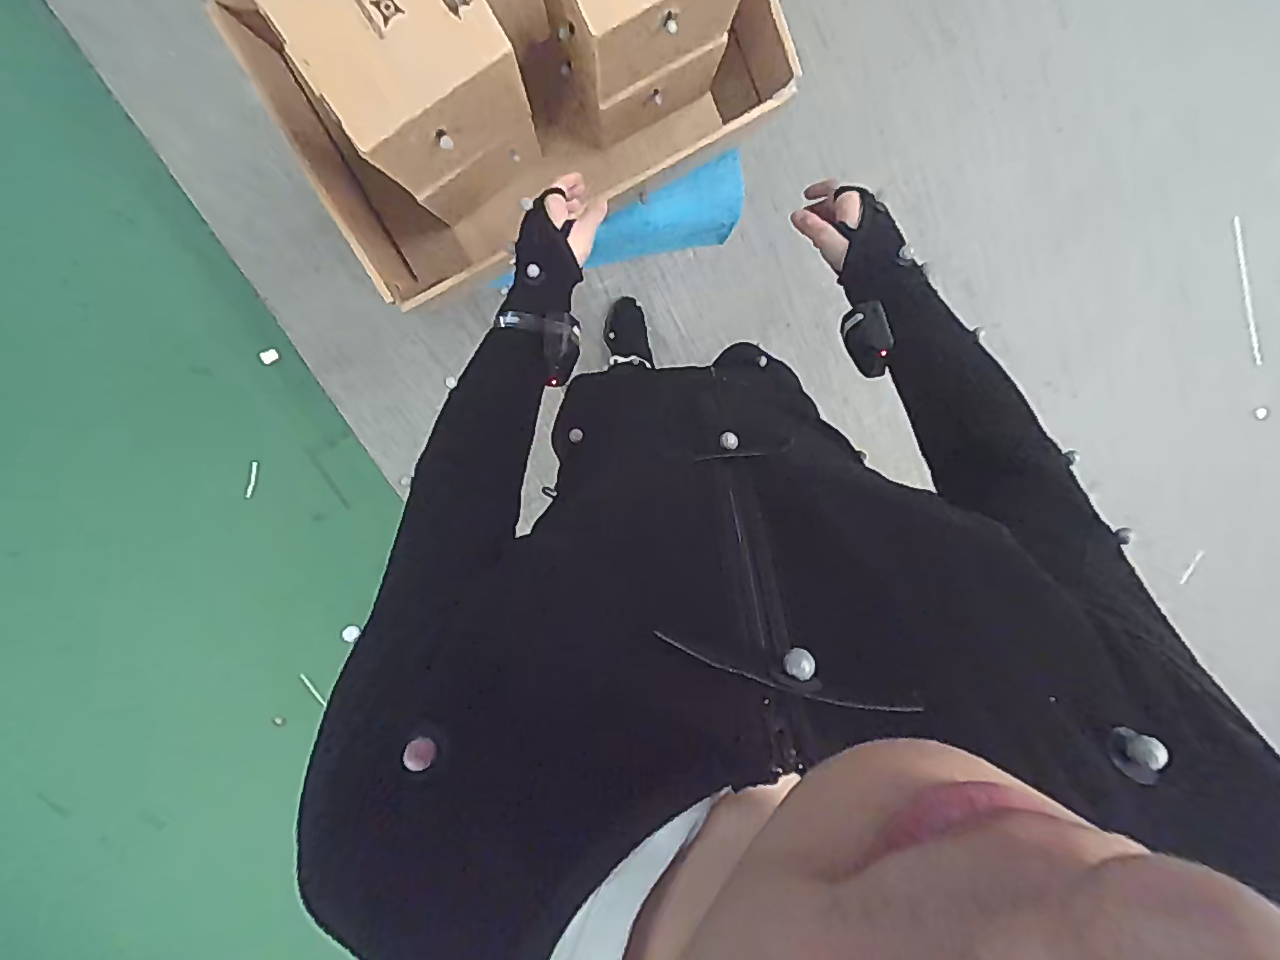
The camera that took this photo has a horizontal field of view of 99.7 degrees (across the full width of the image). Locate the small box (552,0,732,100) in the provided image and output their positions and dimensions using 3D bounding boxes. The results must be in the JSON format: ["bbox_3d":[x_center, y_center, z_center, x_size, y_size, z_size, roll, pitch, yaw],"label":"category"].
[{"bbox_3d":[-0.008,-0.531,0.545,0.179,0.176,0.168,-25,107,5],"label":"small box"}]

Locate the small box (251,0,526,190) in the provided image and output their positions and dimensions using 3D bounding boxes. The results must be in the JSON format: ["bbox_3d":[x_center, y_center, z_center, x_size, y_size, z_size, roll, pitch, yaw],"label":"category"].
[{"bbox_3d":[-0.239,-0.436,0.560,0.179,0.176,0.168,-32,106,5],"label":"small box"}]
